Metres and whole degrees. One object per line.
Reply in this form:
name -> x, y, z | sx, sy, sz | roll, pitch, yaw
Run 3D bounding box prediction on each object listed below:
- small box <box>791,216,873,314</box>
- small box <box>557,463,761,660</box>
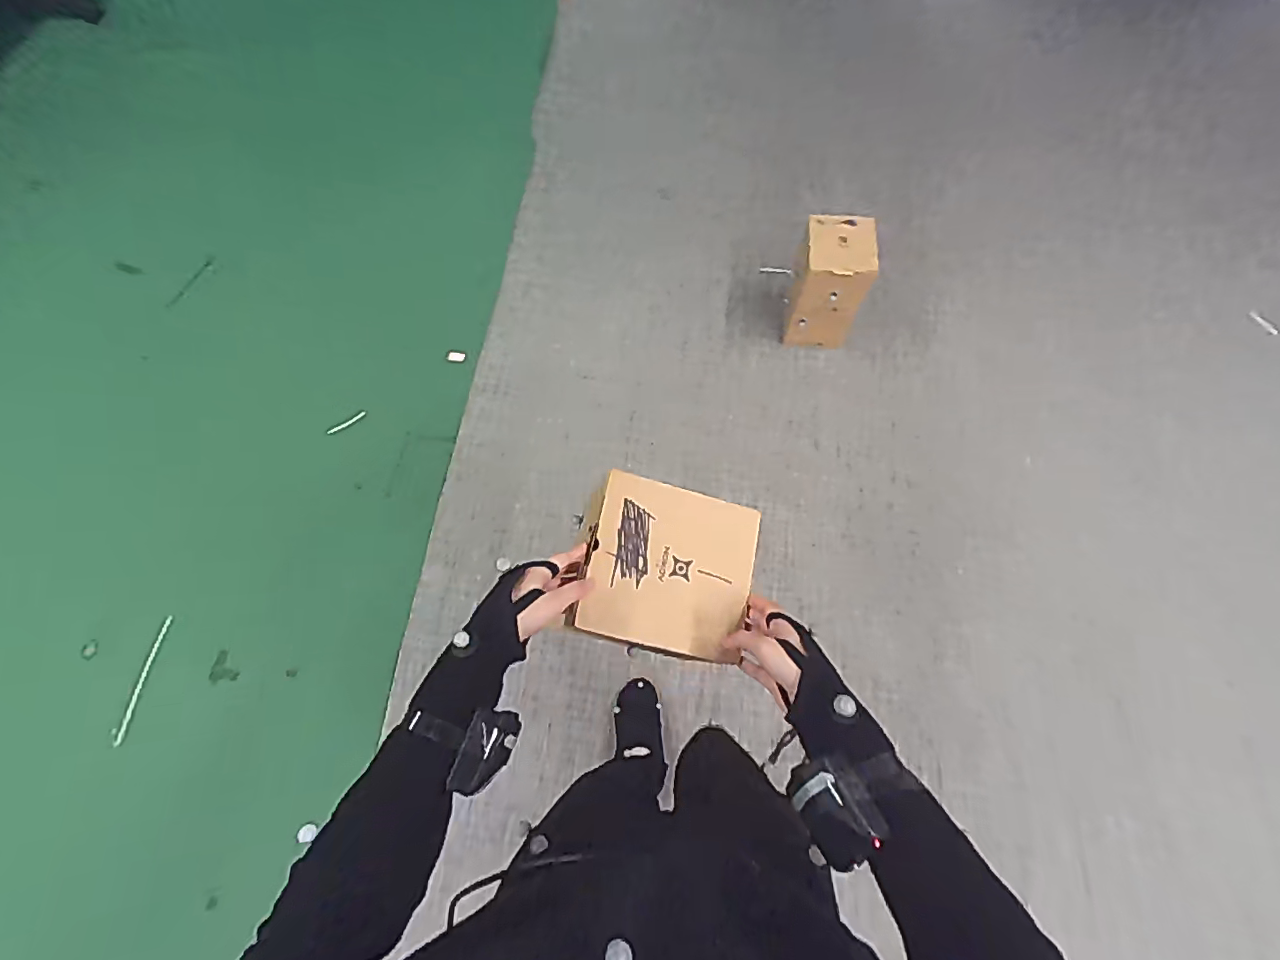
small box -> 0.496, -0.556, 1.413 | 0.168, 0.176, 0.179 | 4, 72, 4
small box -> 0.013, 0.102, 0.618 | 0.179, 0.176, 0.168 | 17, 71, -11
